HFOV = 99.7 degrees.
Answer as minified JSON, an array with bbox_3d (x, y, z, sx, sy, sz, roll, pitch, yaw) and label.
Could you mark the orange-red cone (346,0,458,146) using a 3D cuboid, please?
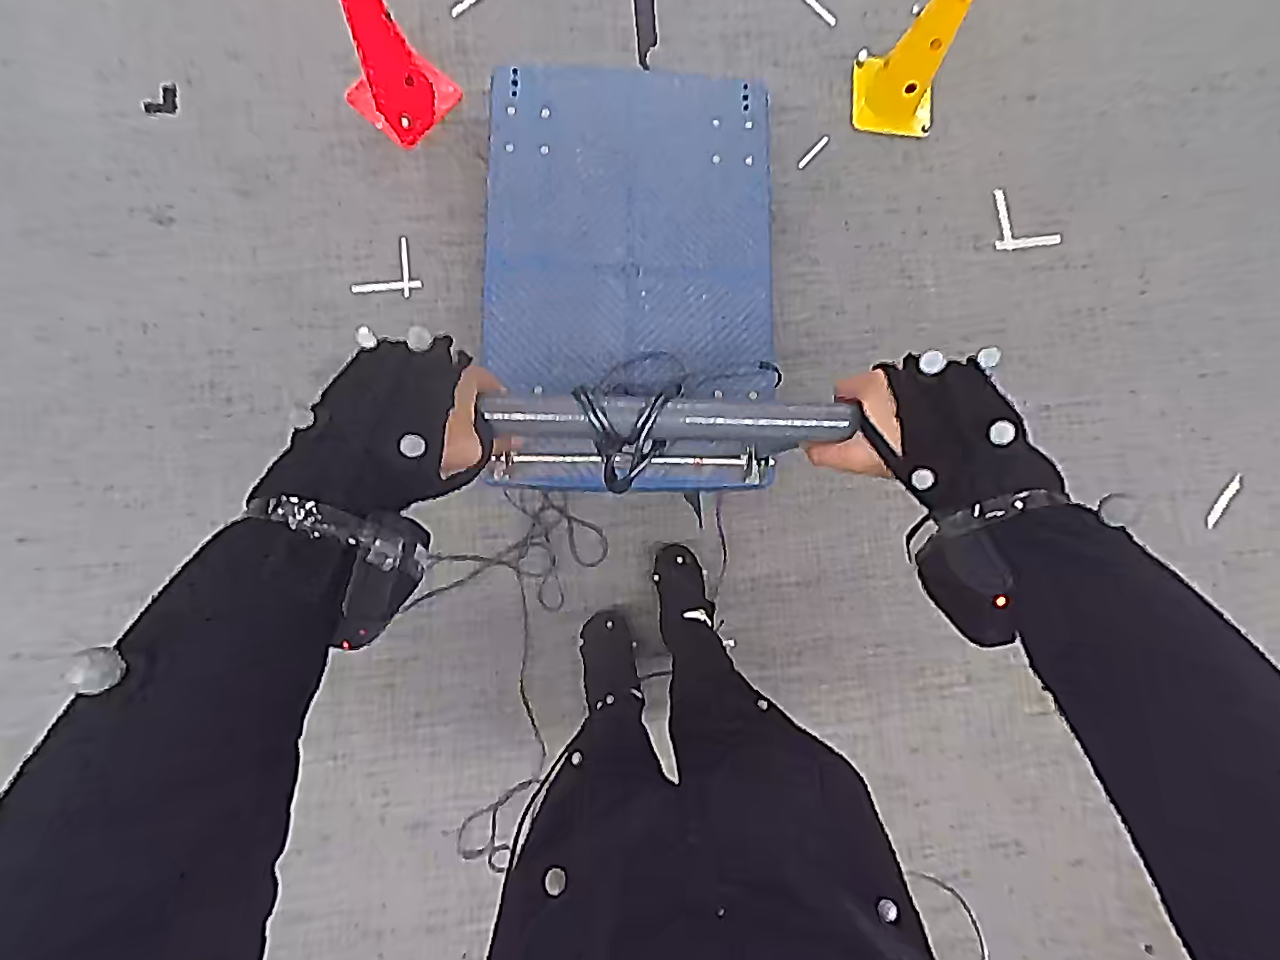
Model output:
[{"bbox_3d":[-0.536,-0.913,1.090,0.198,0.360,0.199,40,81,0],"label":"orange-red cone"}]
